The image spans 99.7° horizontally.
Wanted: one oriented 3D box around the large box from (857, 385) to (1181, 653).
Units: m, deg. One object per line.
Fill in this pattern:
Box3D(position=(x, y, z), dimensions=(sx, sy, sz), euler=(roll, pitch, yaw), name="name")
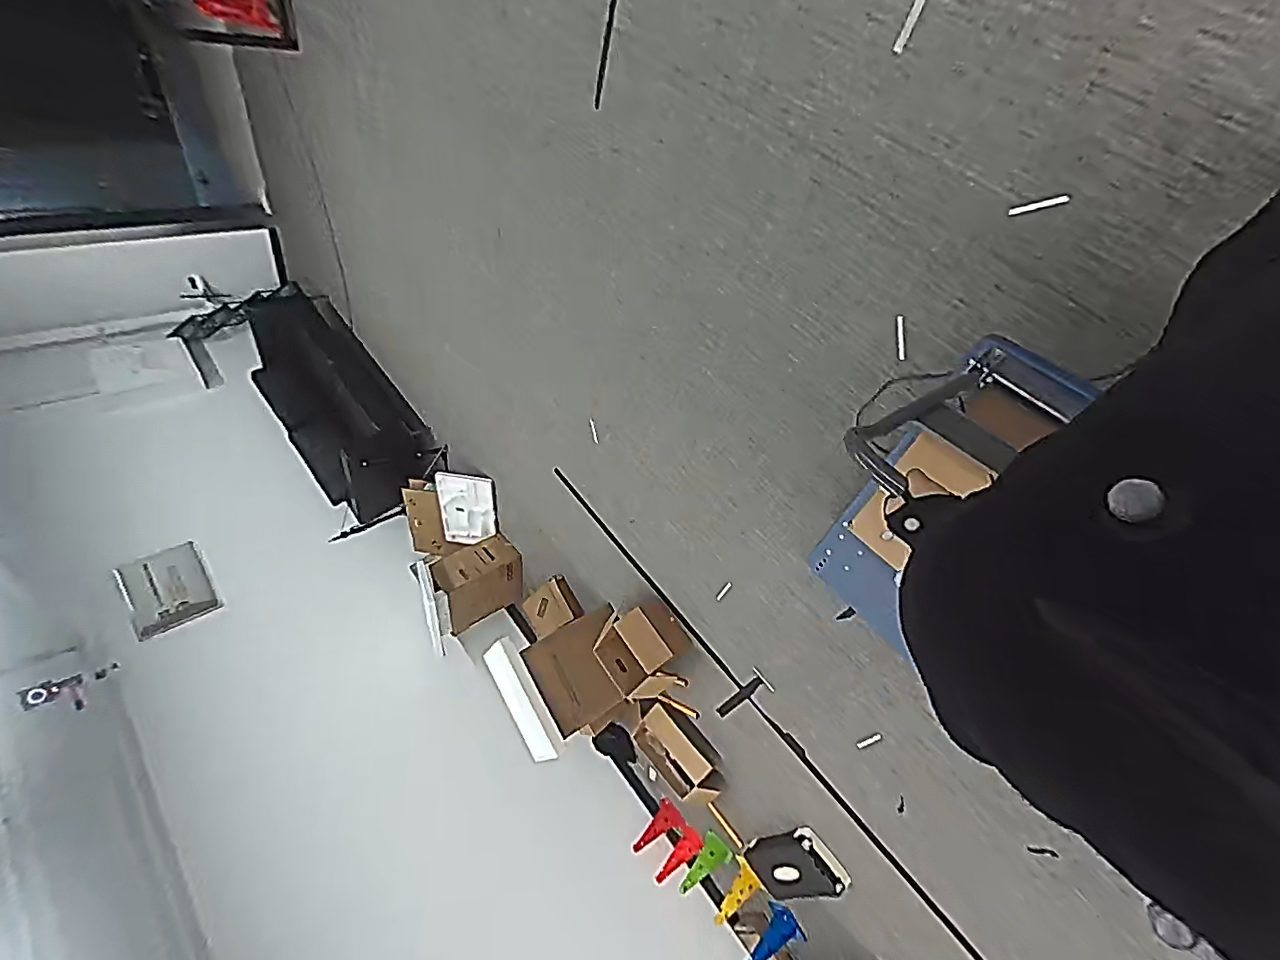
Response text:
Box3D(position=(0.762, 0.064, 1.129), dimensions=(0.408, 0.320, 0.320), euler=(46, 140, 26), name="large box")
